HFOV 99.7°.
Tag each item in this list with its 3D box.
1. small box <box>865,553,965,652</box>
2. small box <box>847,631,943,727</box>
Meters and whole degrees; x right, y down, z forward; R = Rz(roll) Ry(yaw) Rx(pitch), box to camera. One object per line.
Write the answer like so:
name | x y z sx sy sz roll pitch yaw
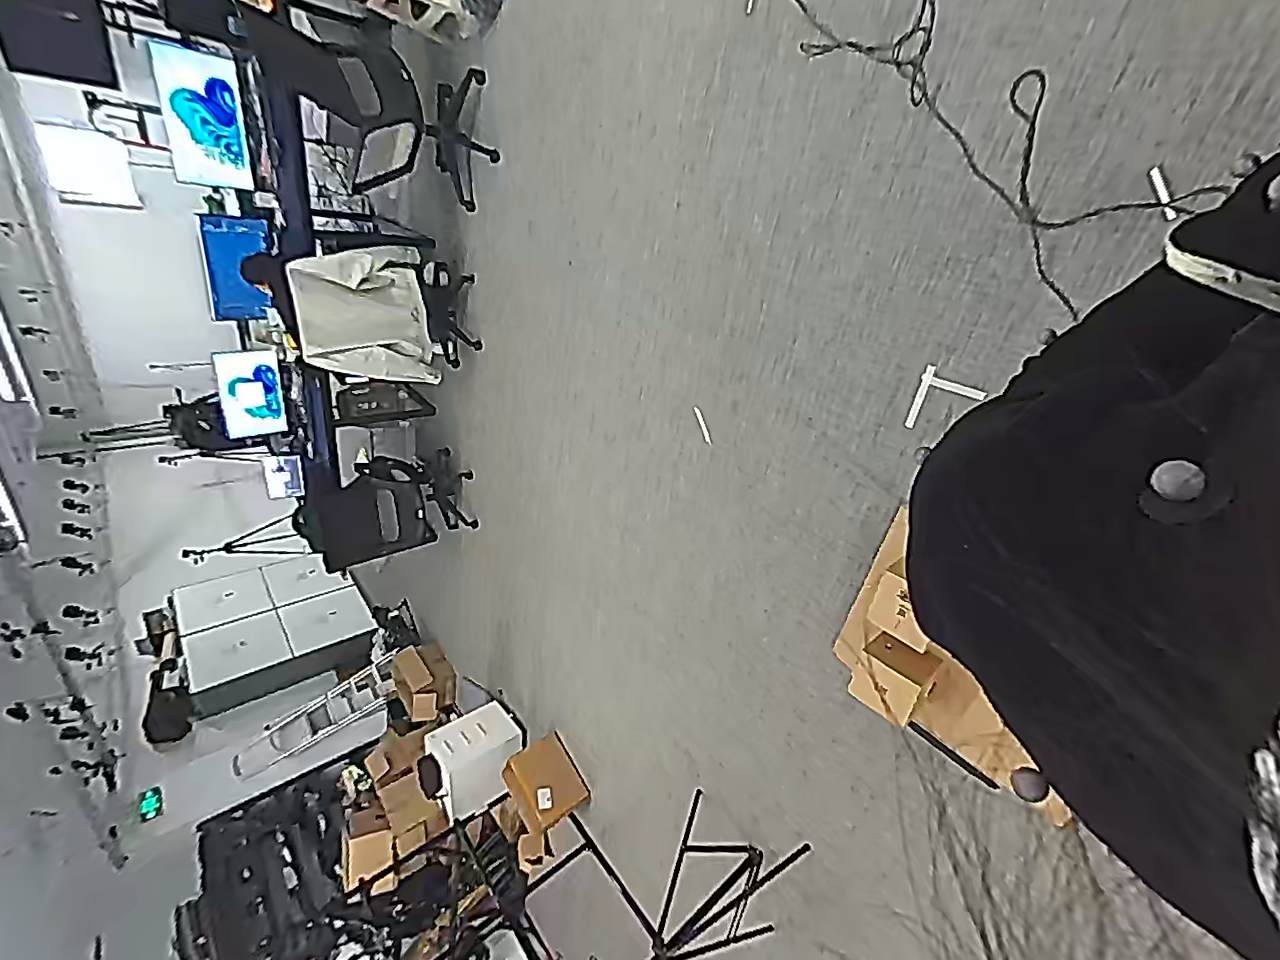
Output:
small box | 0.749 0.322 1.465 0.168 0.176 0.179 32 125 39
small box | 0.736 0.562 1.564 0.179 0.176 0.168 29 124 40
